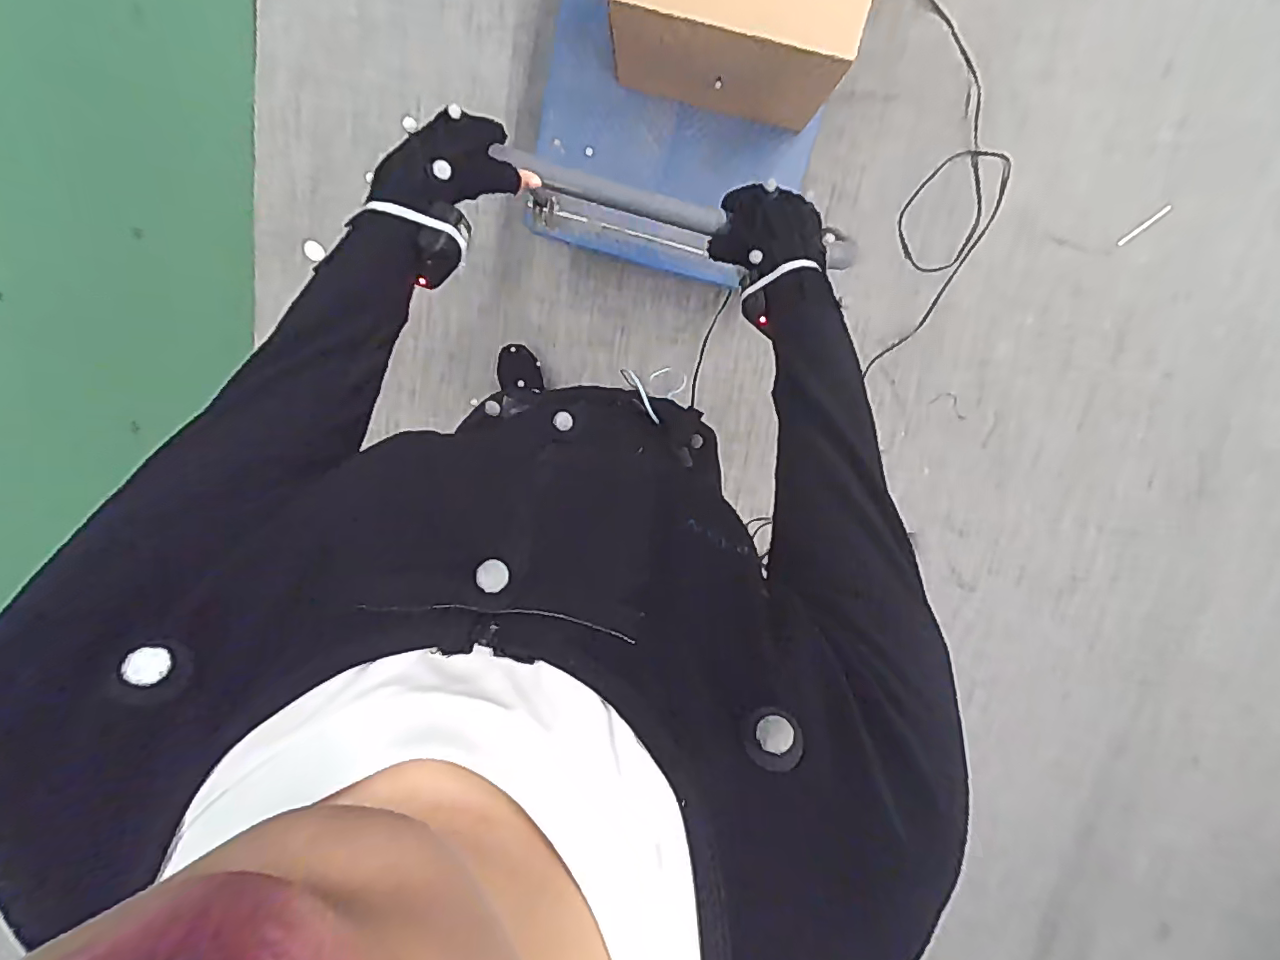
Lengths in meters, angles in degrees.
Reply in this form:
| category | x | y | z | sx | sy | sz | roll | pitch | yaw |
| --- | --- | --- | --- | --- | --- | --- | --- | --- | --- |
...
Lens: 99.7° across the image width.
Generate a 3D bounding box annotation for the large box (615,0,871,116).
| category | x | y | z | sx | sy | sz | roll | pitch | yaw |
| --- | --- | --- | --- | --- | --- | --- | --- | --- | --- |
| large box | 0.190 | -0.905 | 0.959 | 0.408 | 0.320 | 0.320 | 12 | 106 | -1 |
